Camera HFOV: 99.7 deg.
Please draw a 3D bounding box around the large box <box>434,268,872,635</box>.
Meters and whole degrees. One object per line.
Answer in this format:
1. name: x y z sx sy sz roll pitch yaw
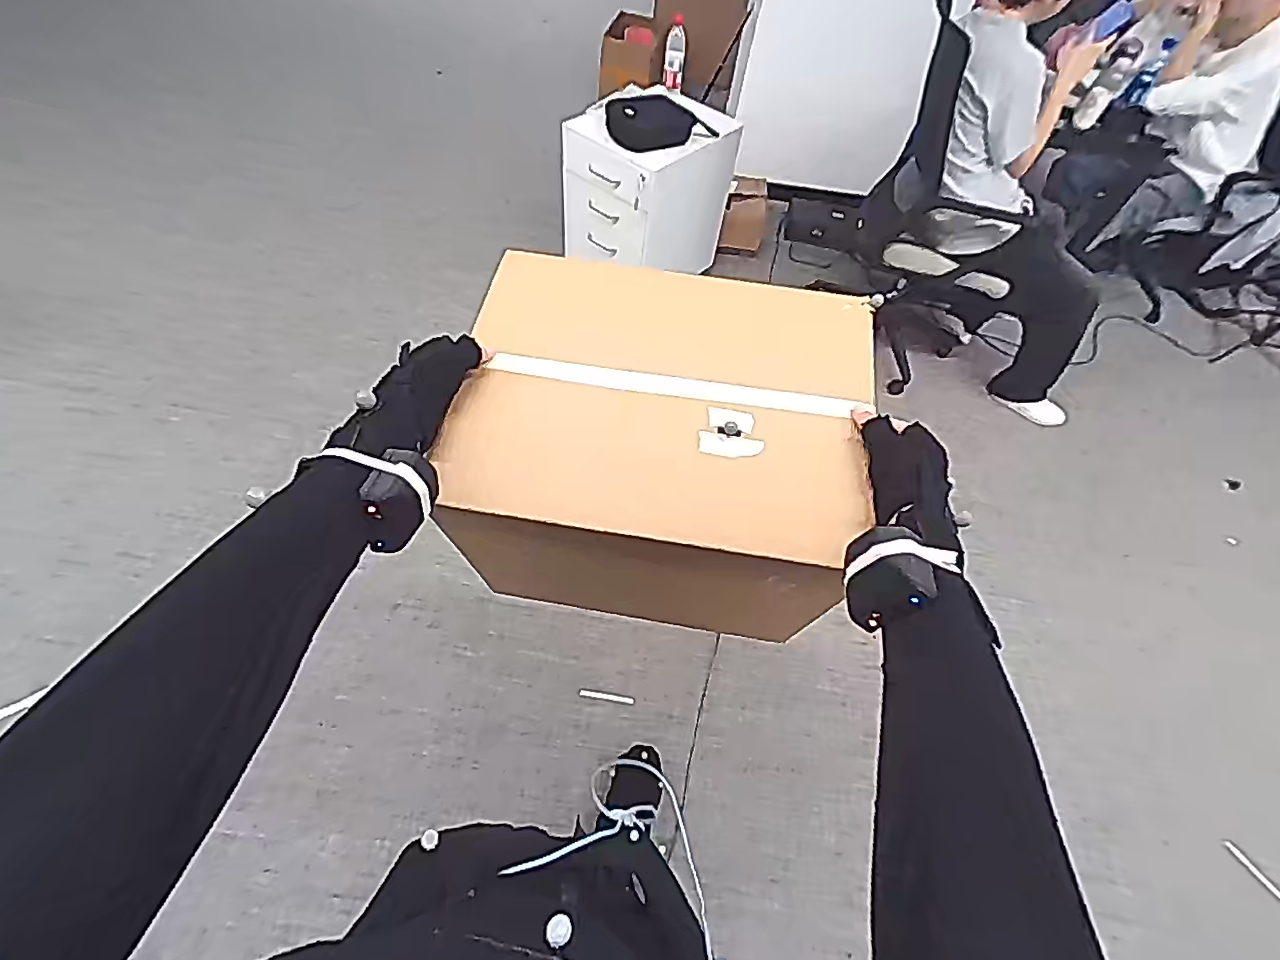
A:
1. large box: 0.024 -0.017 0.678 0.408 0.320 0.320 9 64 3
